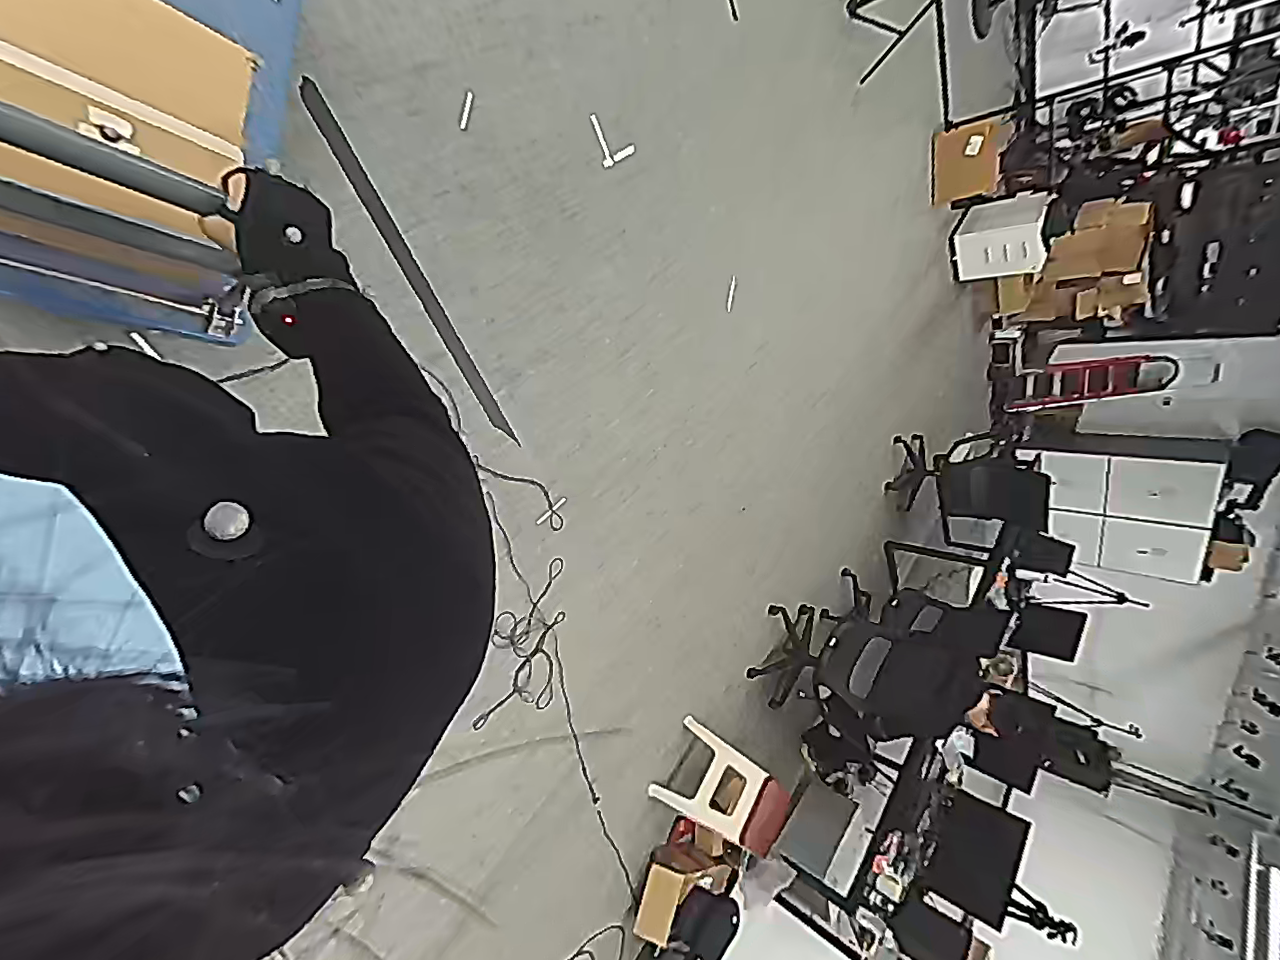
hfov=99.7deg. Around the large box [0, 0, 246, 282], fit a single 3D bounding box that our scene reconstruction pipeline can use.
[{"bbox_3d":[-0.855,-0.518,0.763,0.408,0.320,0.320,10,90,-48],"label":"large box"}]
